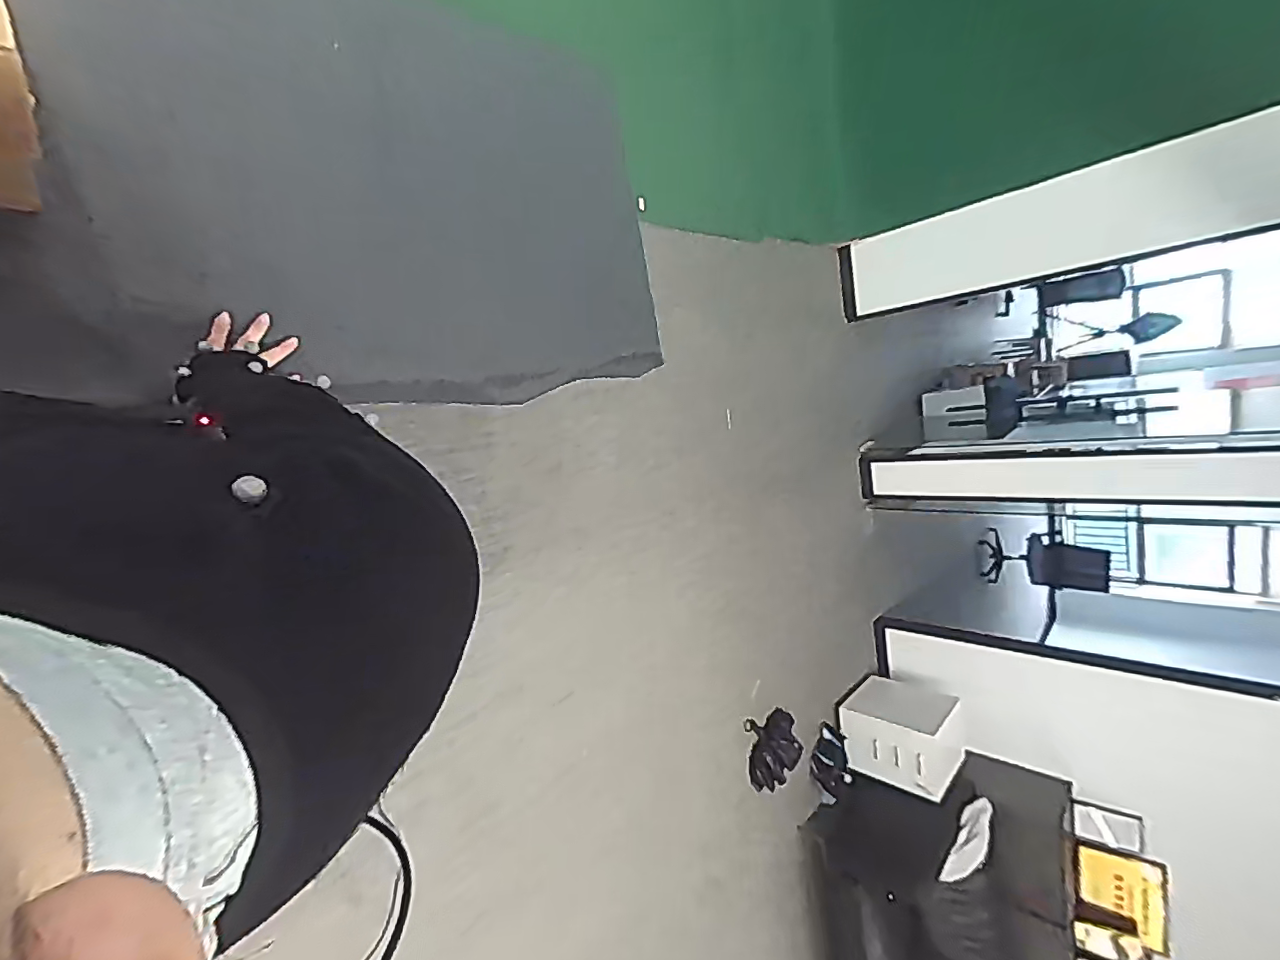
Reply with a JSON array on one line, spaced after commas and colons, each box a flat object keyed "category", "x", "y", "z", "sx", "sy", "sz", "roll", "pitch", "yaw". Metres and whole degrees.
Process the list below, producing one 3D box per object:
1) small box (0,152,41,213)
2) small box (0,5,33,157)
[{"category": "small box", "x": -0.648, "y": -0.347, "z": 0.453, "sx": 0.168, "sy": 0.176, "sz": 0.179, "roll": -16, "pitch": 101, "yaw": -44}, {"category": "small box", "x": -0.530, "y": -0.337, "z": 0.339, "sx": 0.168, "sy": 0.176, "sz": 0.179, "roll": -20, "pitch": 102, "yaw": -44}]
